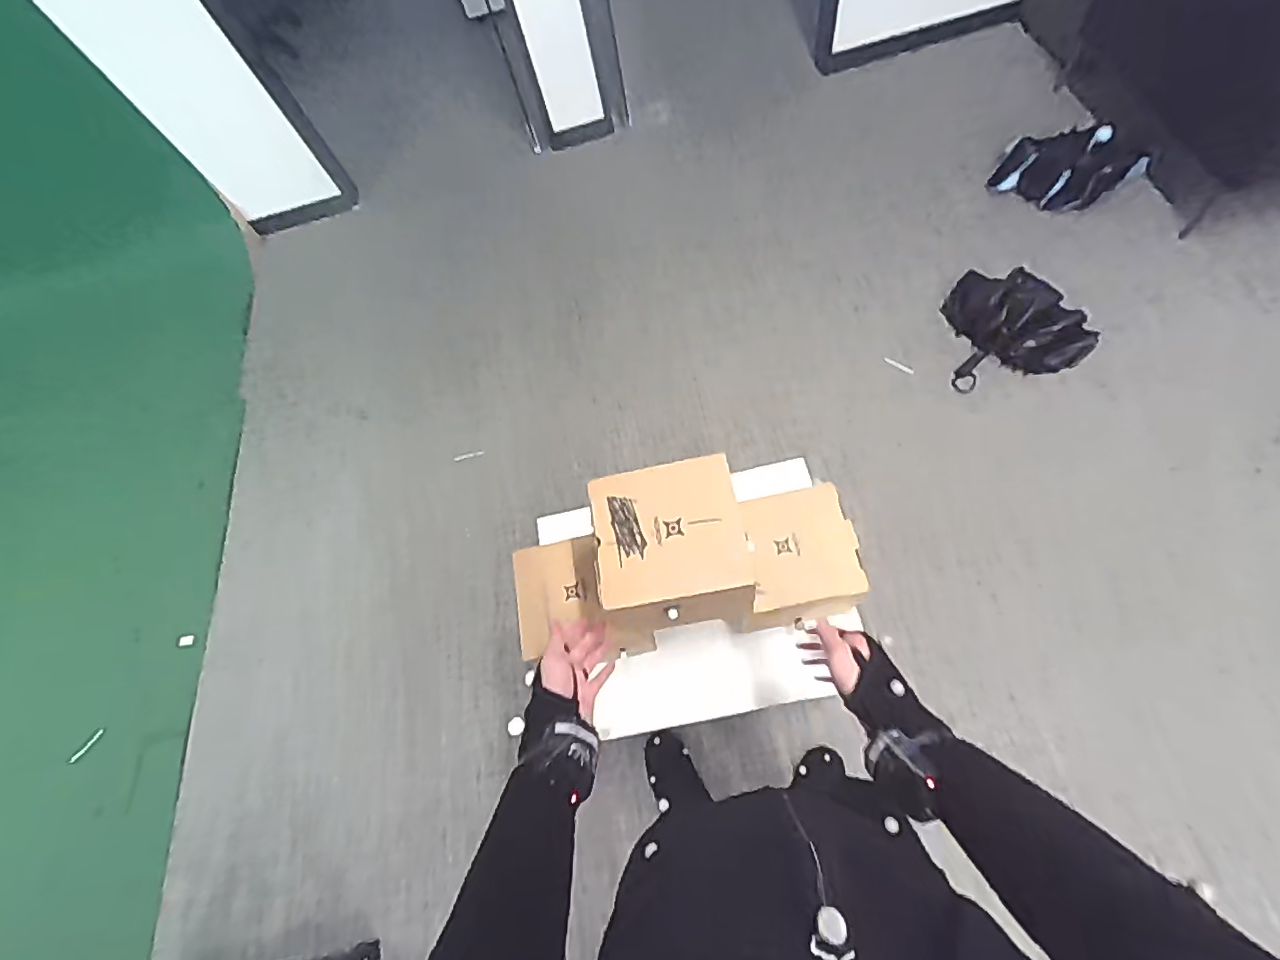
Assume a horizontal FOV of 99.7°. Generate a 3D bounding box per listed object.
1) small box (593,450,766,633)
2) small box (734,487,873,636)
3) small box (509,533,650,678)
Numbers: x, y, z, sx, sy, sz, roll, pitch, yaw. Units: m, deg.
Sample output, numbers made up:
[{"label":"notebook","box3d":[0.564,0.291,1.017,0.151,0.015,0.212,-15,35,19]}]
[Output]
[{"label":"small box","box3d":[0.049,0.086,0.680,0.179,0.176,0.168,-11,63,2]},{"label":"small box","box3d":[0.222,0.130,0.821,0.179,0.176,0.168,-12,64,3]},{"label":"small box","box3d":[-0.085,0.194,0.827,0.179,0.176,0.168,-13,62,0]}]
